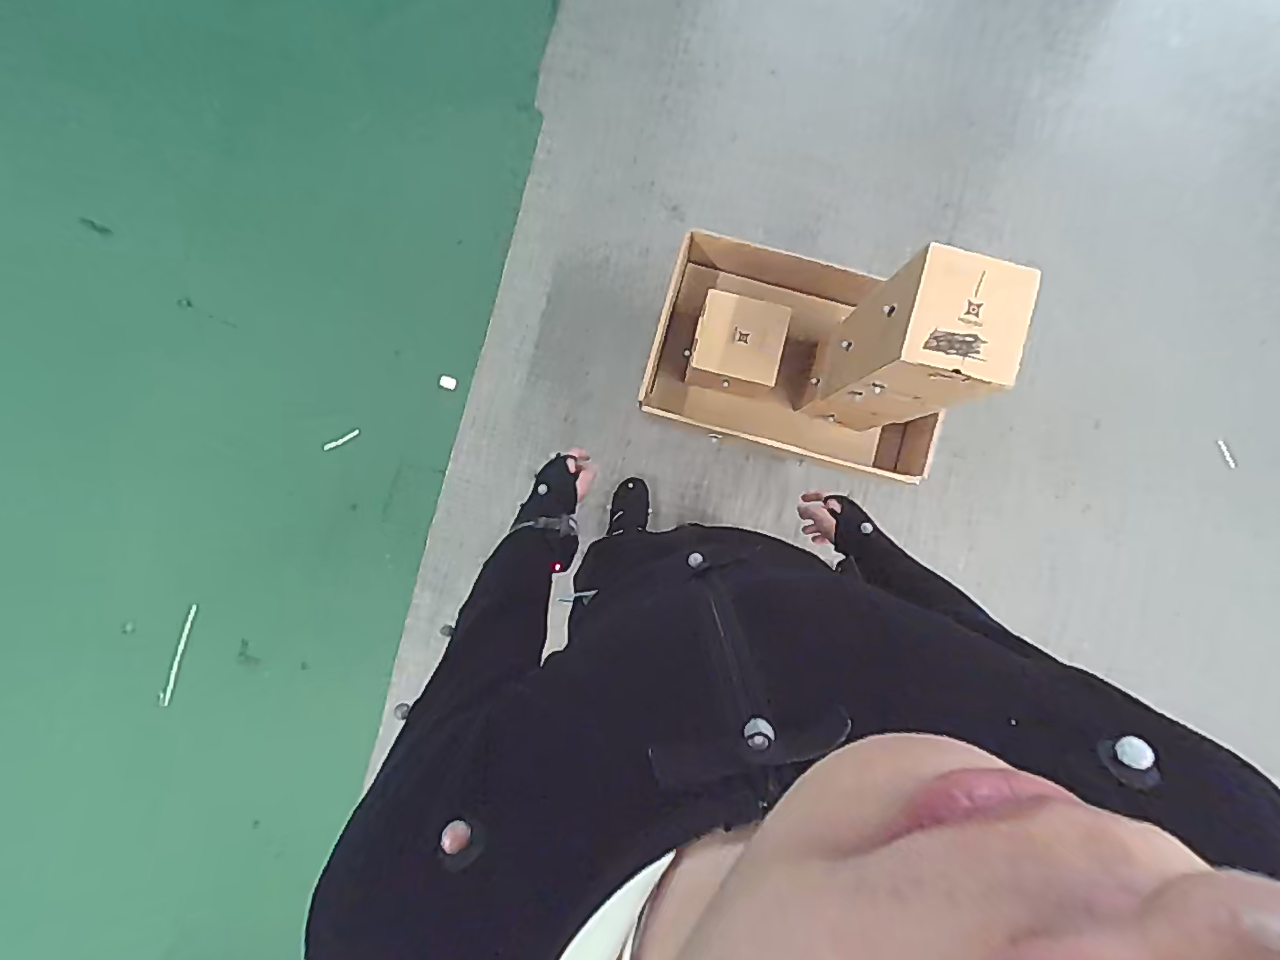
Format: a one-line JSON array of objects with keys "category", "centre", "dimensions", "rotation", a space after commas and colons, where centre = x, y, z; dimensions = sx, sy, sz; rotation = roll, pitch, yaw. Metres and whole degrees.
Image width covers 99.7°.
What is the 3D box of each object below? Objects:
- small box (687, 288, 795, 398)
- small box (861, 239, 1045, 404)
[{"category": "small box", "centre": [0.207, -0.283, 1.160], "dimensions": [0.179, 0.176, 0.168], "rotation": [15, 88, -1]}, {"category": "small box", "centre": [0.462, -0.228, 0.827], "dimensions": [0.168, 0.176, 0.179], "rotation": [16, 87, 1]}]
